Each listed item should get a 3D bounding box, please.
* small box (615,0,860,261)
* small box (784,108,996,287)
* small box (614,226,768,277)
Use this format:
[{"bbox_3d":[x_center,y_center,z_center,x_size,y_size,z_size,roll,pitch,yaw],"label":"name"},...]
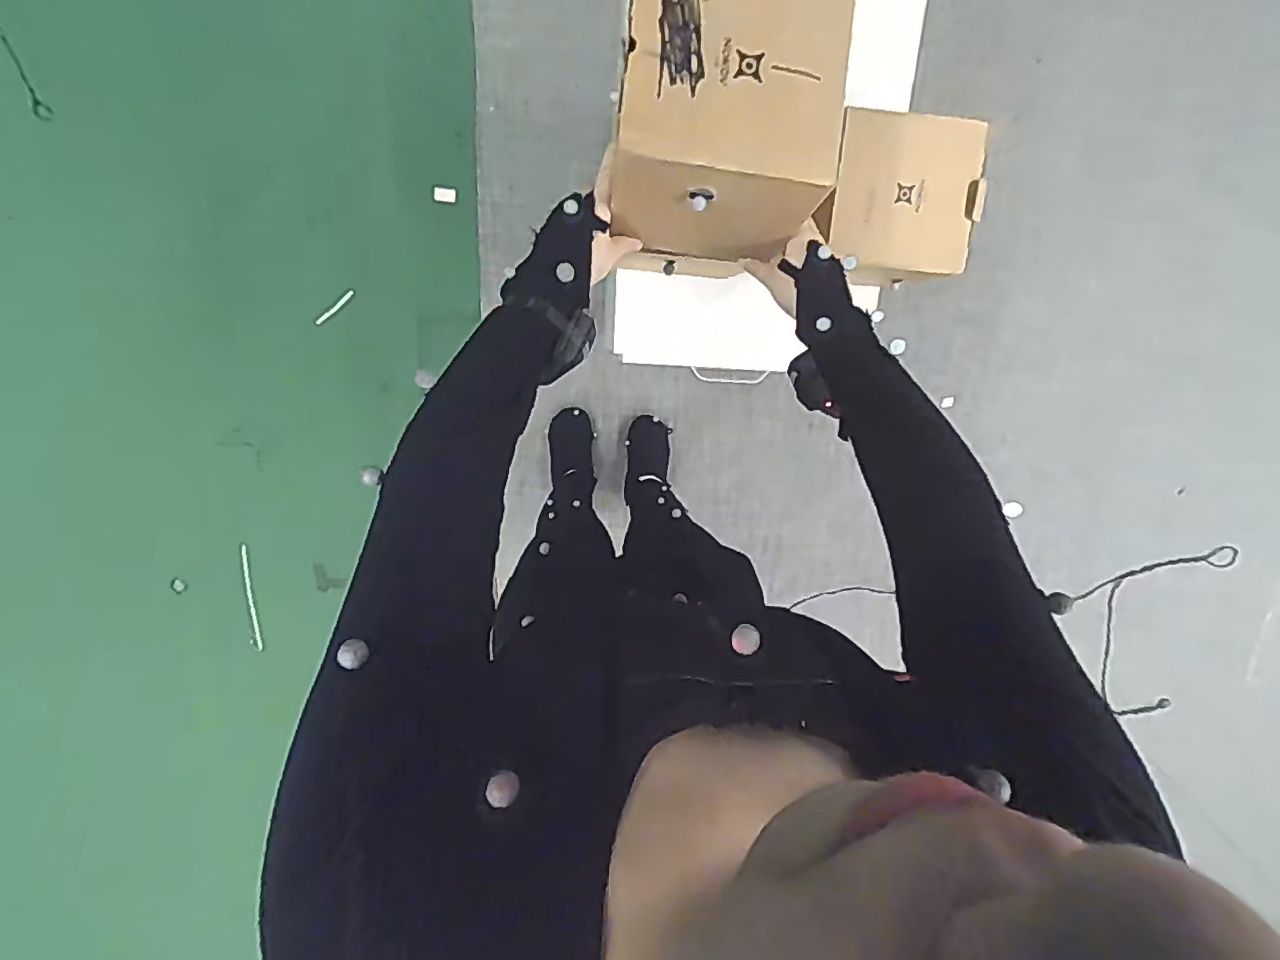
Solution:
[{"bbox_3d":[0.072,-0.317,0.493,0.179,0.176,0.168,6,92,-5],"label":"small box"},{"bbox_3d":[0.305,-0.347,0.698,0.179,0.176,0.168,3,104,-4],"label":"small box"},{"bbox_3d":[0.061,-0.351,0.672,0.179,0.176,0.168,3,105,-7],"label":"small box"}]
